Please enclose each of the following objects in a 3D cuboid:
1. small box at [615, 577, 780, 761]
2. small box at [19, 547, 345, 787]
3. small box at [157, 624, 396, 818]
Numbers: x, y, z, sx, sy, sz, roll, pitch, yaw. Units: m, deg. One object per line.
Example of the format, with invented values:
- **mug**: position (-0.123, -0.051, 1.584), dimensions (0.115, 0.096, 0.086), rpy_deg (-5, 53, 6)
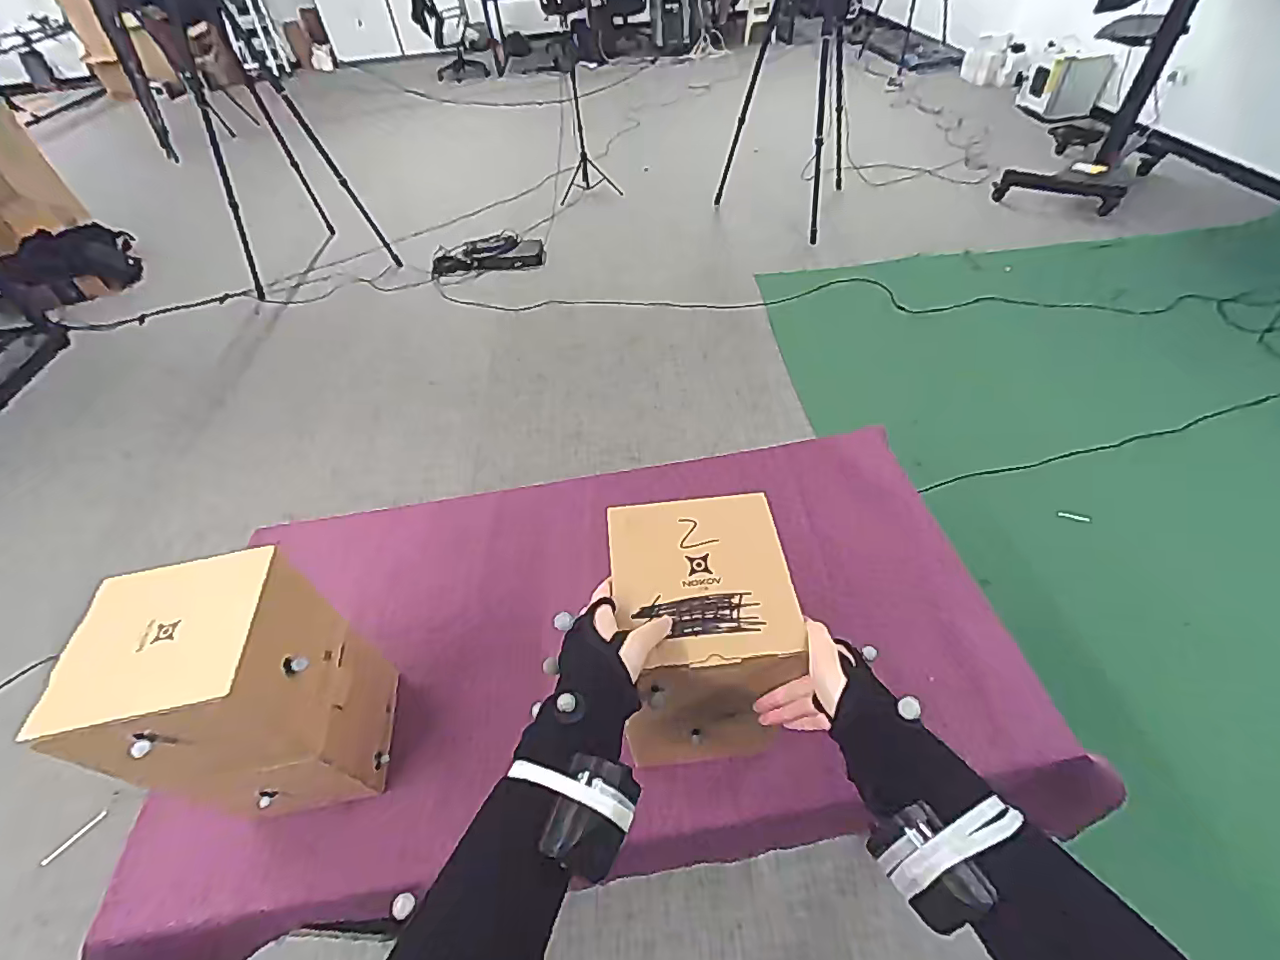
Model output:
- **small box**: position (0.068, 0.246, 0.691), dimensions (0.179, 0.176, 0.168), rpy_deg (-6, 49, 1)
- **small box**: position (-0.444, 0.199, 0.569), dimensions (0.179, 0.176, 0.168), rpy_deg (-12, 48, -4)
- **small box**: position (-0.435, 0.308, 0.689), dimensions (0.179, 0.176, 0.168), rpy_deg (-12, 48, -3)
